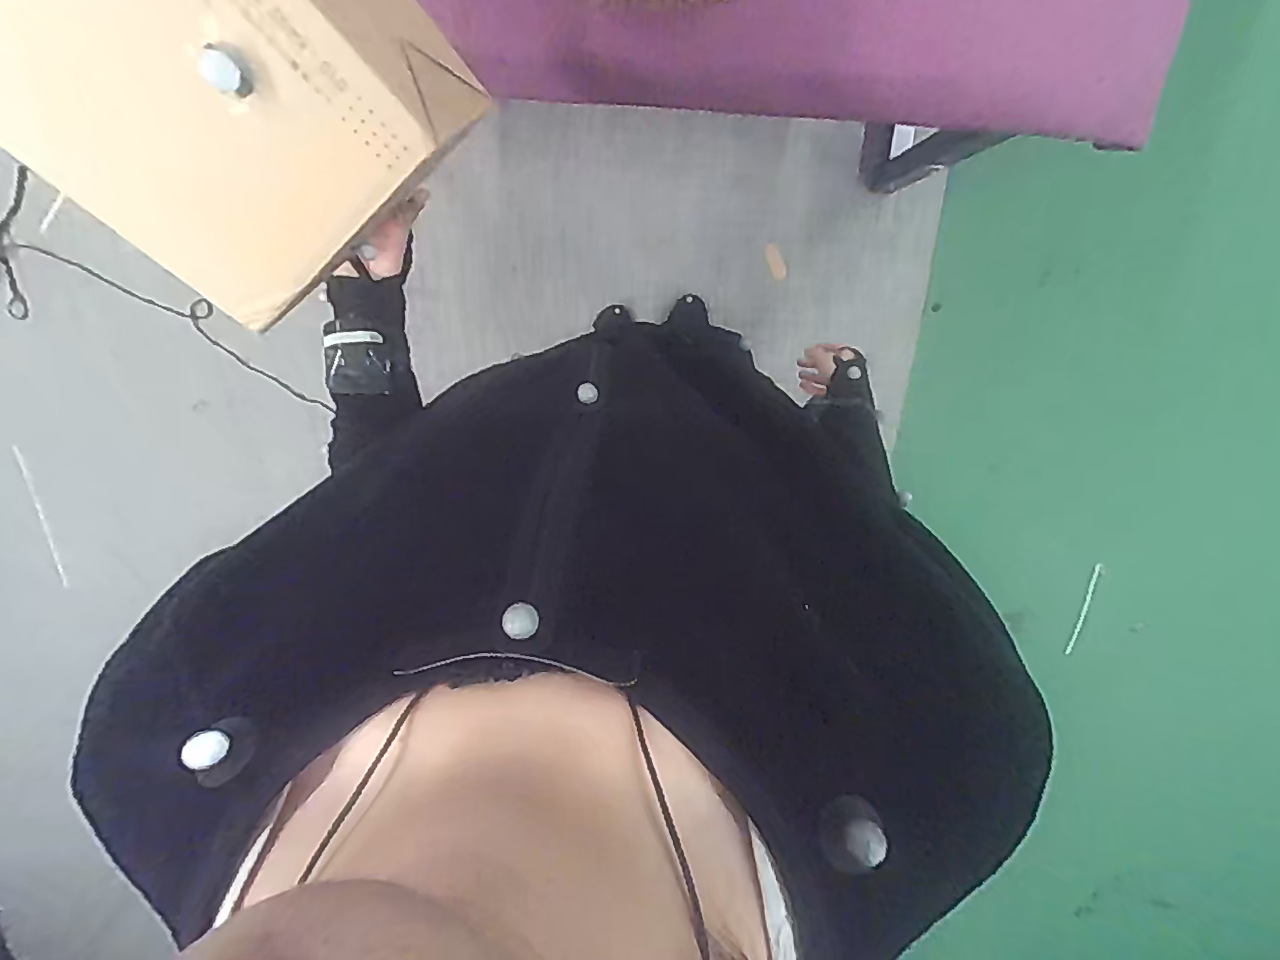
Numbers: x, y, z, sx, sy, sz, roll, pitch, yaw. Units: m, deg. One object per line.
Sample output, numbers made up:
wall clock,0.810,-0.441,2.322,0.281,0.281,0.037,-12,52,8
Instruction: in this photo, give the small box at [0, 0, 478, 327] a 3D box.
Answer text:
small box,-0.217,-0.230,0.312,0.176,0.179,0.168,-31,125,21
